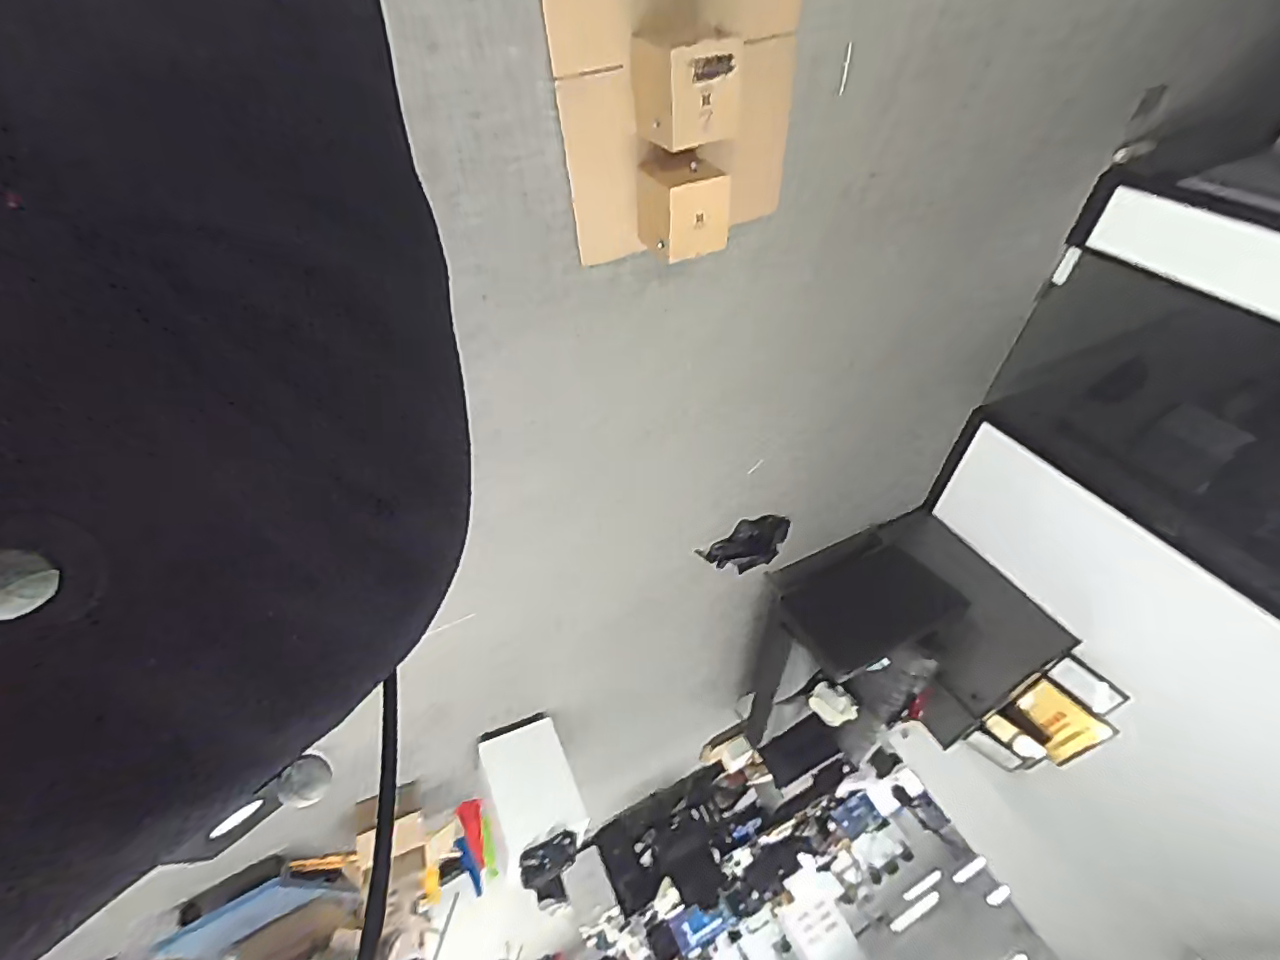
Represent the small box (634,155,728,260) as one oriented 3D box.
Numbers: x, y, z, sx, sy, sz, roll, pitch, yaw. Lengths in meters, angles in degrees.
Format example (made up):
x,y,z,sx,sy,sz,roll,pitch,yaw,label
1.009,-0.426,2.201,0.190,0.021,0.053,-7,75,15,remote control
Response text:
x,y,z,sx,sy,sz,roll,pitch,yaw,label
0.093,-0.667,1.311,0.168,0.176,0.179,-22,141,-17,small box
